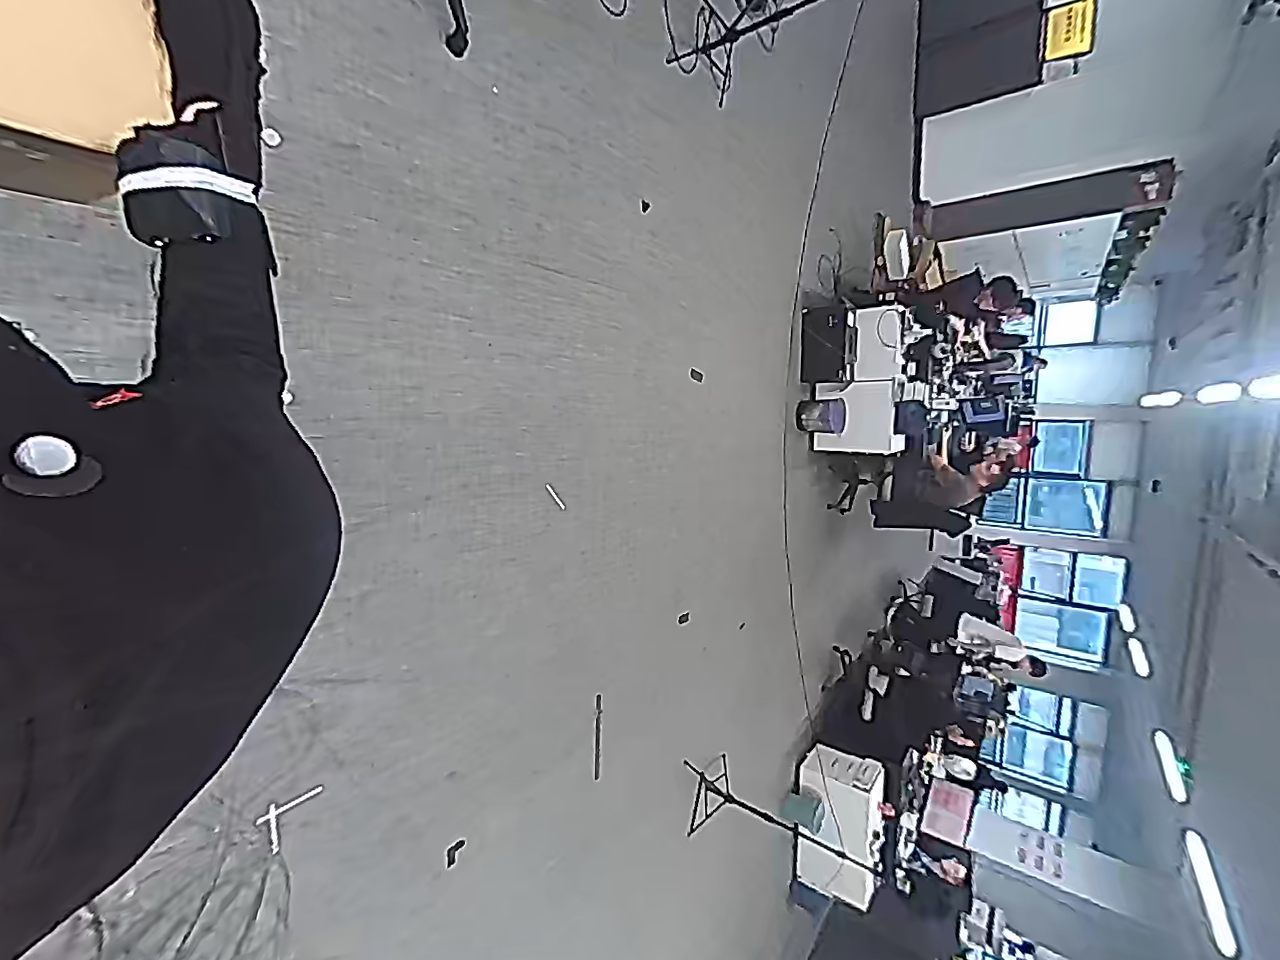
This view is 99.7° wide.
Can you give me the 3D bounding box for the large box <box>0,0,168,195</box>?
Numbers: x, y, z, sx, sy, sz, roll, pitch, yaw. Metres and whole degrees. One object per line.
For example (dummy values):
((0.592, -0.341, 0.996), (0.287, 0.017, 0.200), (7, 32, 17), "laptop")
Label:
((-0.576, -0.390, 0.297), (0.408, 0.320, 0.320), (-11, 112, -53), "large box")
